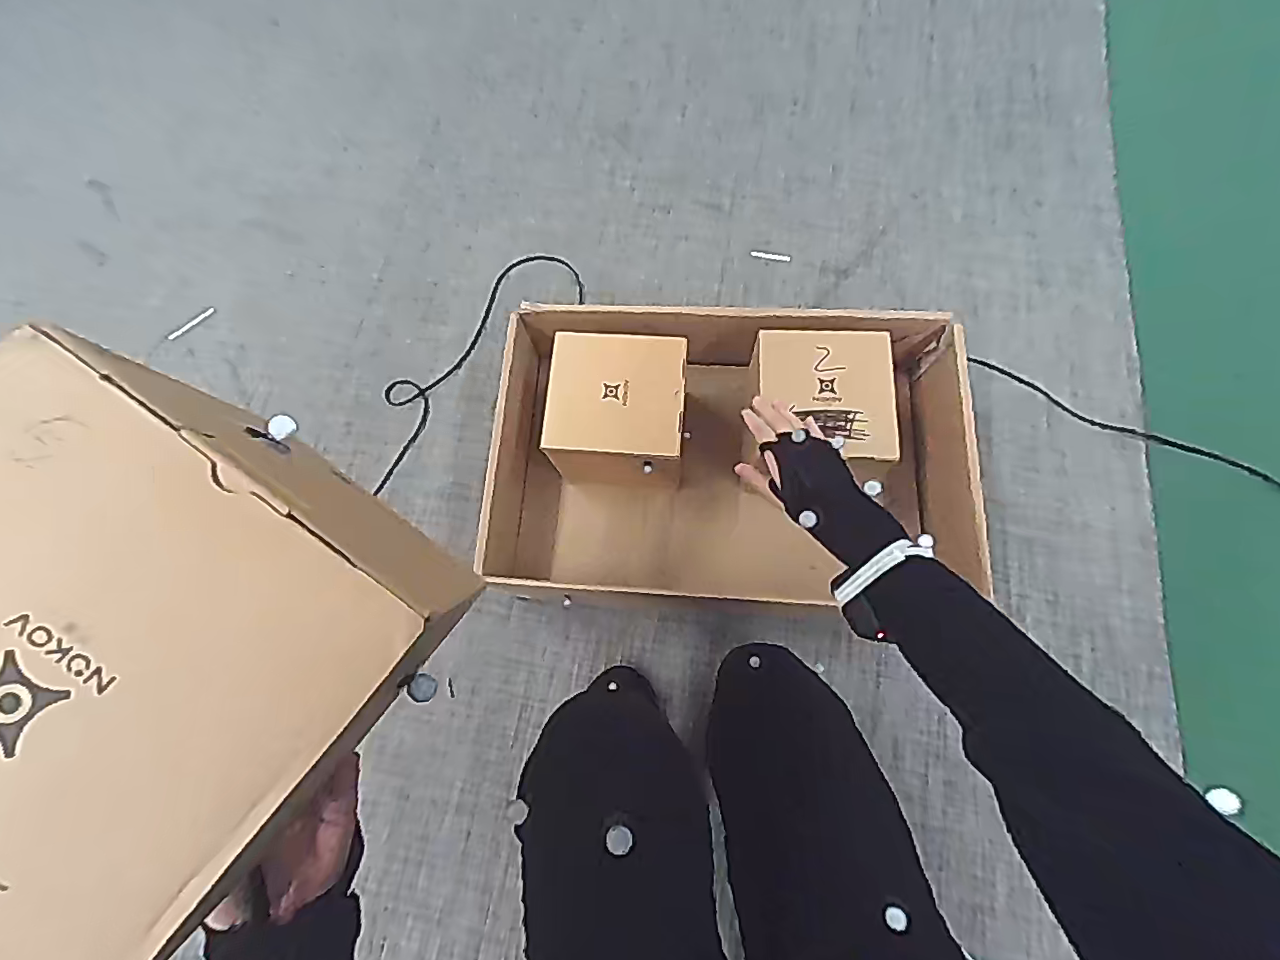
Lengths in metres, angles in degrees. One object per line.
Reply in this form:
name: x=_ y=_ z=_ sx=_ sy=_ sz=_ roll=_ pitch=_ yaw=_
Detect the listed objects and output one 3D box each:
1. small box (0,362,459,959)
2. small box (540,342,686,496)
small box: x=-0.204 y=0.084 z=0.247 sx=0.168 sy=0.176 sz=0.179 roll=39 pitch=78 yaw=-3
small box: x=-0.029 y=-0.078 z=0.767 sx=0.179 sy=0.176 sz=0.168 roll=4 pitch=74 yaw=3
